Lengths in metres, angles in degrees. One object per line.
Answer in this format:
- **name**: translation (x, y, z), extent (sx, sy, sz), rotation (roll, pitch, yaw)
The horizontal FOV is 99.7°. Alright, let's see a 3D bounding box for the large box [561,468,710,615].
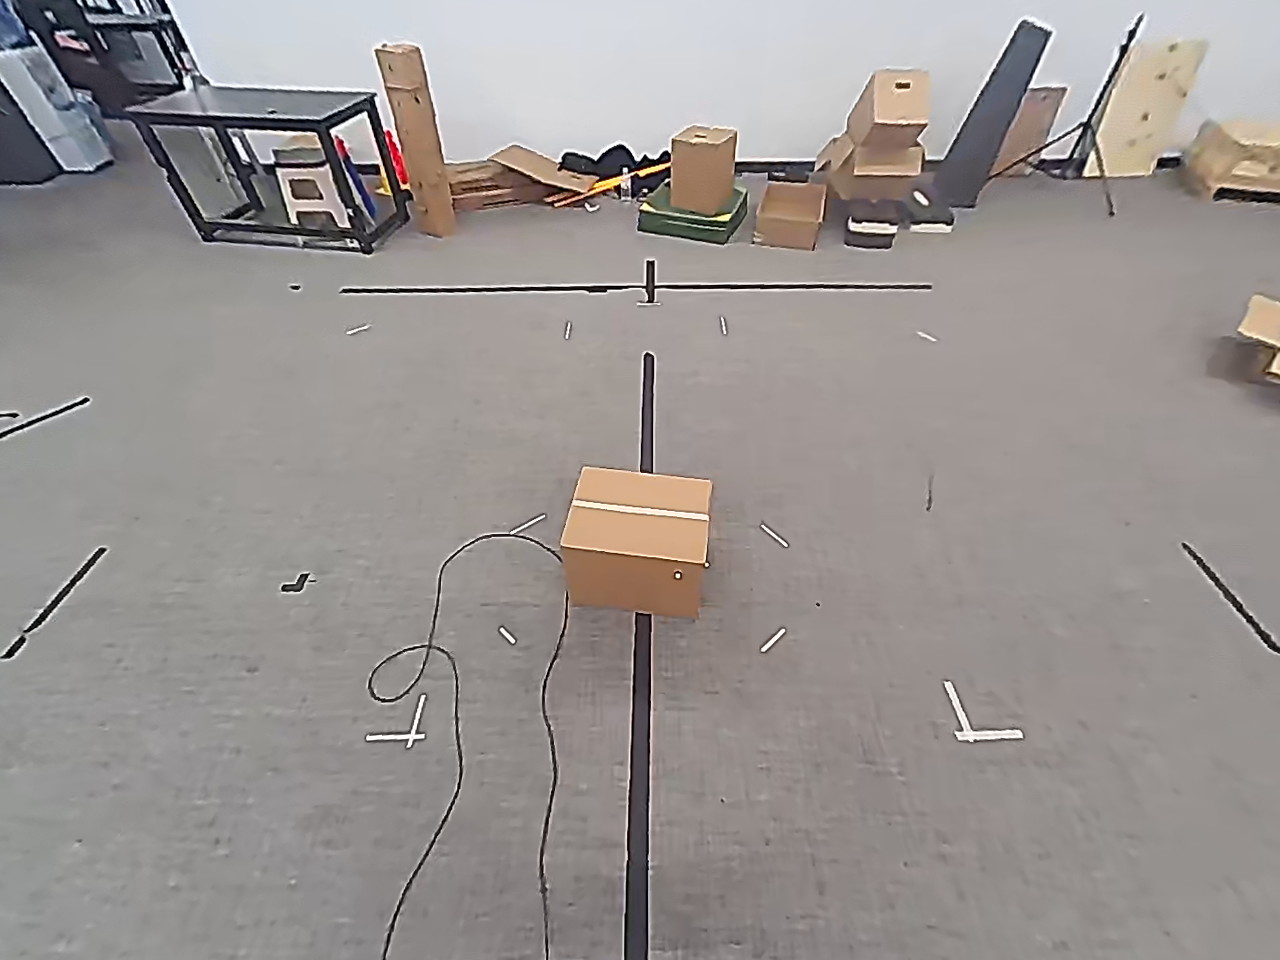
- **large box**: translation (-0.002, 0.192, 1.671), extent (0.408, 0.320, 0.320), rotation (6, 47, 5)
